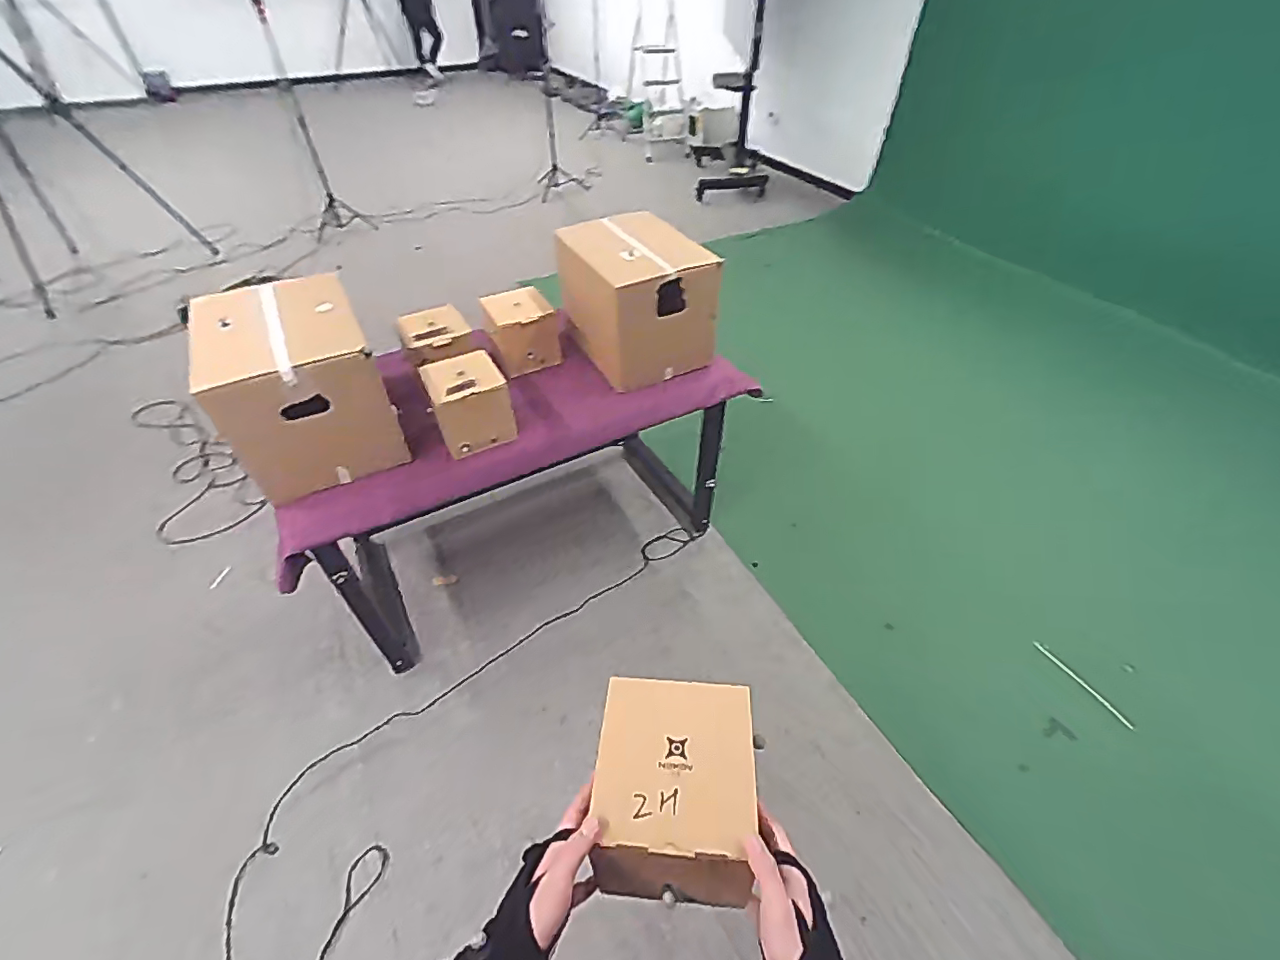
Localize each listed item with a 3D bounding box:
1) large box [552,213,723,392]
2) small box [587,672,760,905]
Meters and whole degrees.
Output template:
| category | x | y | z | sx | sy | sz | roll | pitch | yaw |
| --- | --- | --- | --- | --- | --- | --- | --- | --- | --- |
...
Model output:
| category | x | y | z | sx | sy | sz | roll | pitch | yaw |
| --- | --- | --- | --- | --- | --- | --- | --- | --- | --- |
| large box | -0.021 | -0.515 | 1.544 | 0.320 | 0.320 | 0.408 | -22 | 51 | -20 |
| small box | 0.040 | 0.346 | 0.616 | 0.168 | 0.176 | 0.179 | 1 | 39 | 5 |
